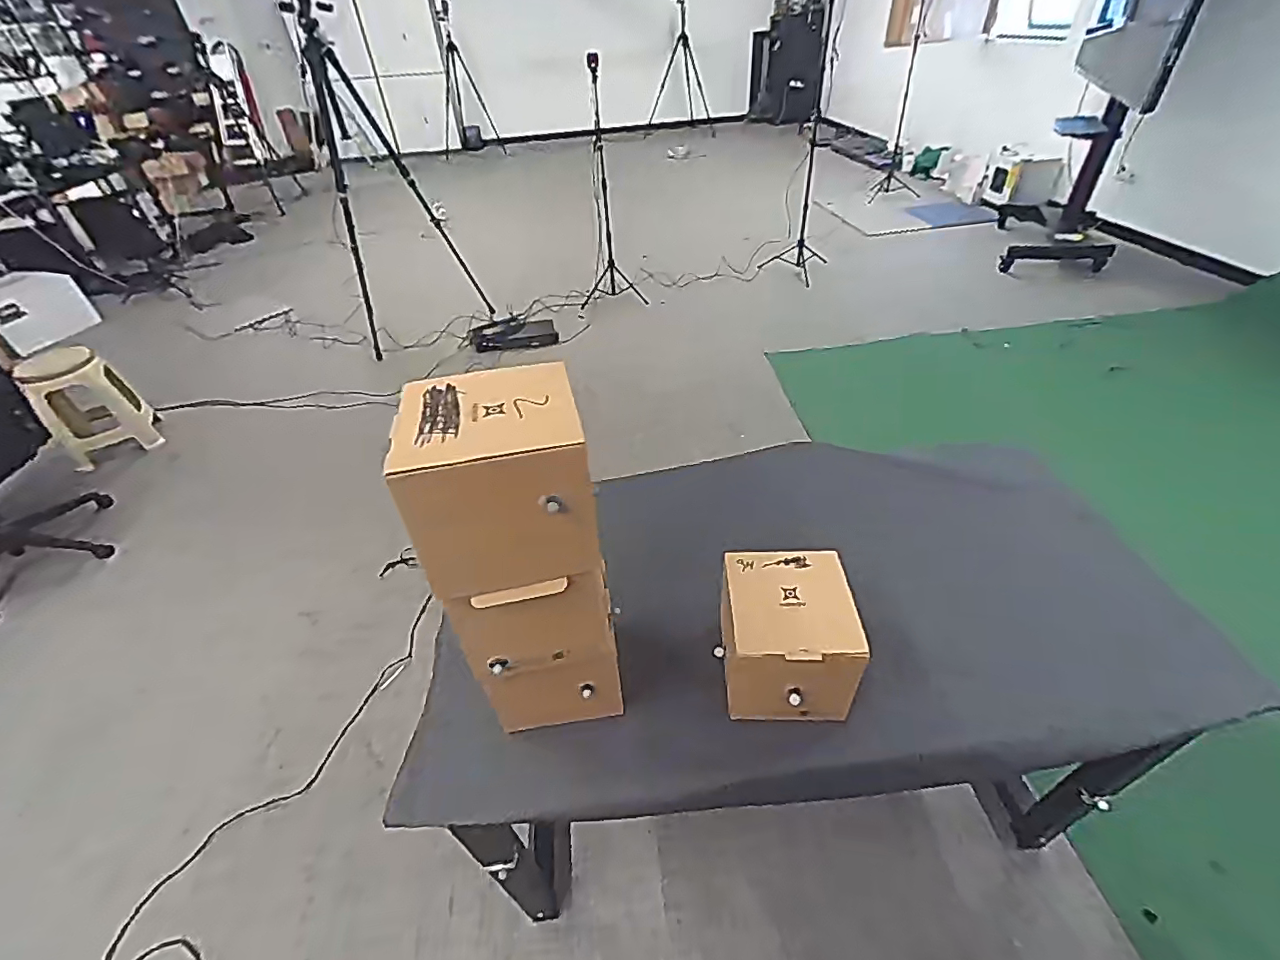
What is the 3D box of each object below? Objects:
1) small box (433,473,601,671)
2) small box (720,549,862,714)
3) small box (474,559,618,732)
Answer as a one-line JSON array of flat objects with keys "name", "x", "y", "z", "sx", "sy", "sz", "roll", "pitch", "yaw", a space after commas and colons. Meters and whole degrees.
[{"name": "small box", "x": -0.148, "y": 0.120, "z": 0.686, "sx": 0.168, "sy": 0.176, "sz": 0.179, "roll": -11, "pitch": 39, "yaw": -7}, {"name": "small box", "x": 0.204, "y": 0.222, "z": 0.782, "sx": 0.168, "sy": 0.176, "sz": 0.179, "roll": -2, "pitch": 41, "yaw": 4}, {"name": "small box", "x": -0.128, "y": 0.243, "z": 0.794, "sx": 0.179, "sy": 0.176, "sz": 0.168, "roll": -9, "pitch": 40, "yaw": -3}]
